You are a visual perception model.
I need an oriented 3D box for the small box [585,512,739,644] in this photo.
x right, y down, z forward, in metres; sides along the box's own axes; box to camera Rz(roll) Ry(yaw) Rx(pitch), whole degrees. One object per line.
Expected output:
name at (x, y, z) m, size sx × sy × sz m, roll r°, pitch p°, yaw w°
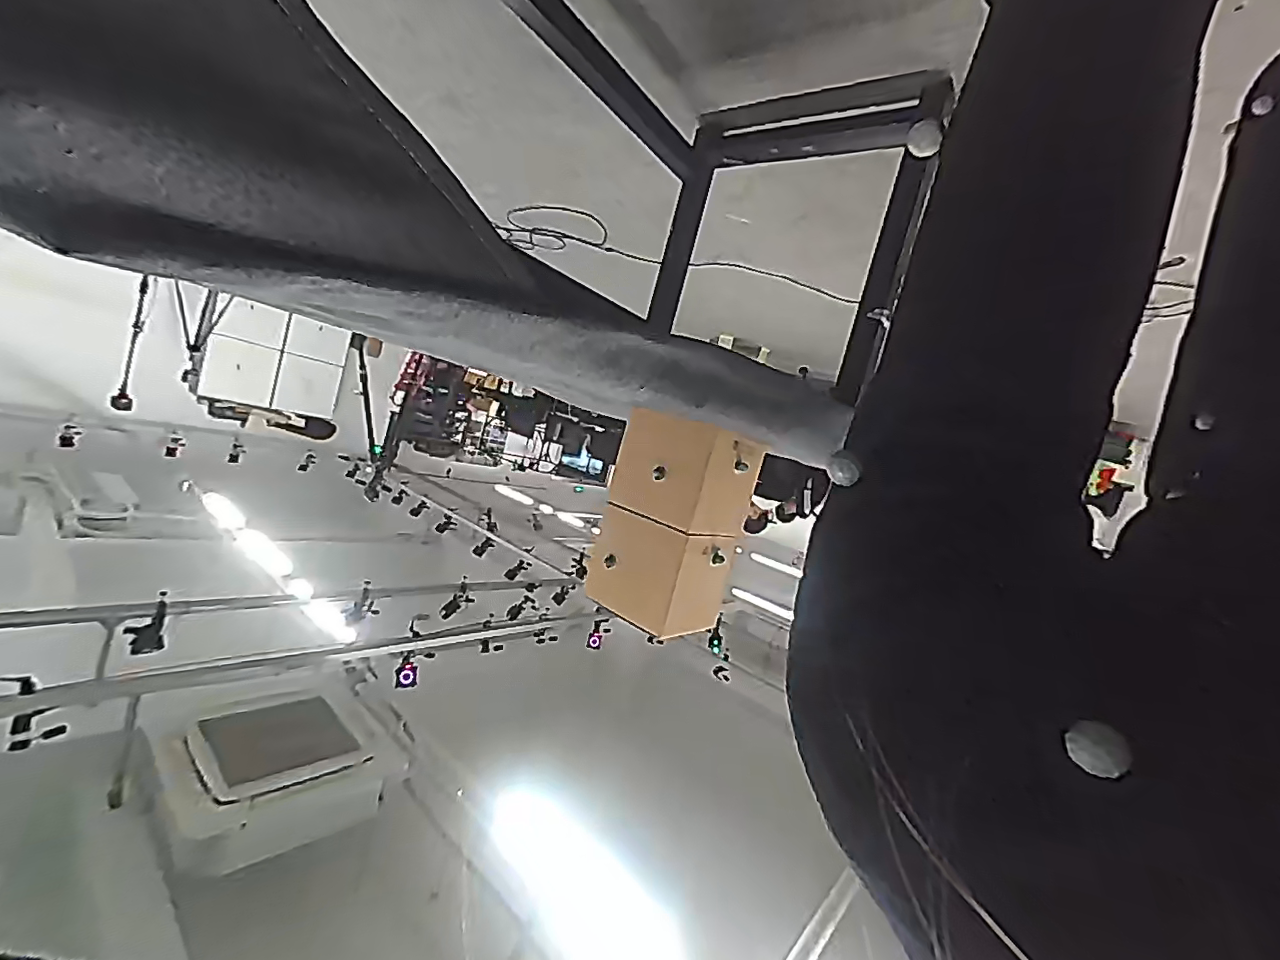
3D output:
small box at (0.040, 0.150, 0.906) m, size 0.179 × 0.176 × 0.168 m, roll 18°, pitch -174°, yaw 40°

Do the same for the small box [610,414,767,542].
small box at (0.082, -0.006, 0.894) m, size 0.179 × 0.176 × 0.168 m, roll 18°, pitch -175°, yaw 39°
